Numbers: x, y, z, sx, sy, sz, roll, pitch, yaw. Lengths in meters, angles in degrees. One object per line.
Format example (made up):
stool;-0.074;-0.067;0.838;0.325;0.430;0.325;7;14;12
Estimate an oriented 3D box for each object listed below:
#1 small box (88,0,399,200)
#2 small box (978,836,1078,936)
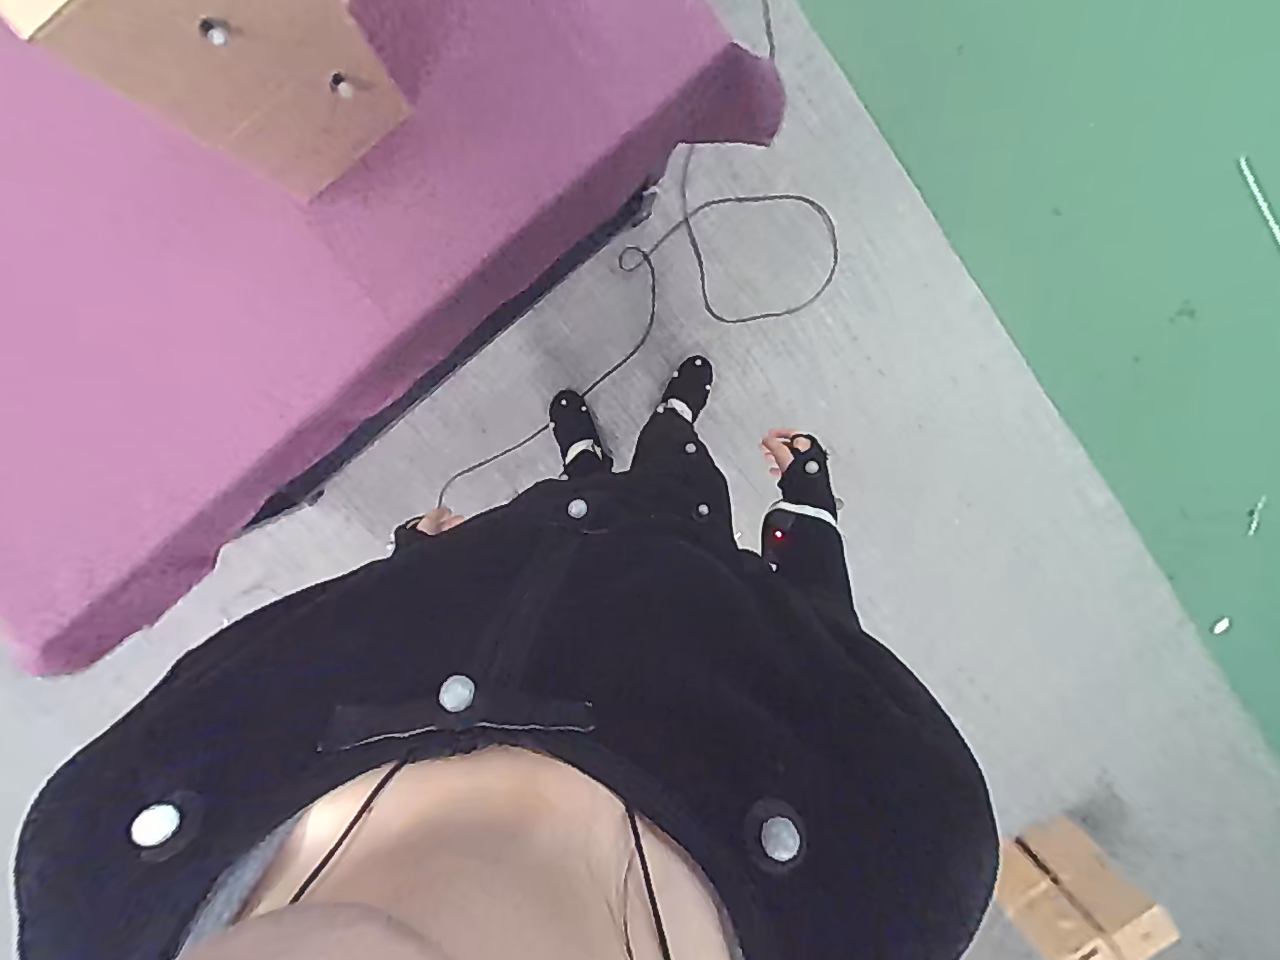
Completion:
small box;-0.382;-0.436;0.563;0.179;0.176;0.168;-39;101;3
small box;1.278;1.337;1.791;0.168;0.176;0.179;-40;100;3
